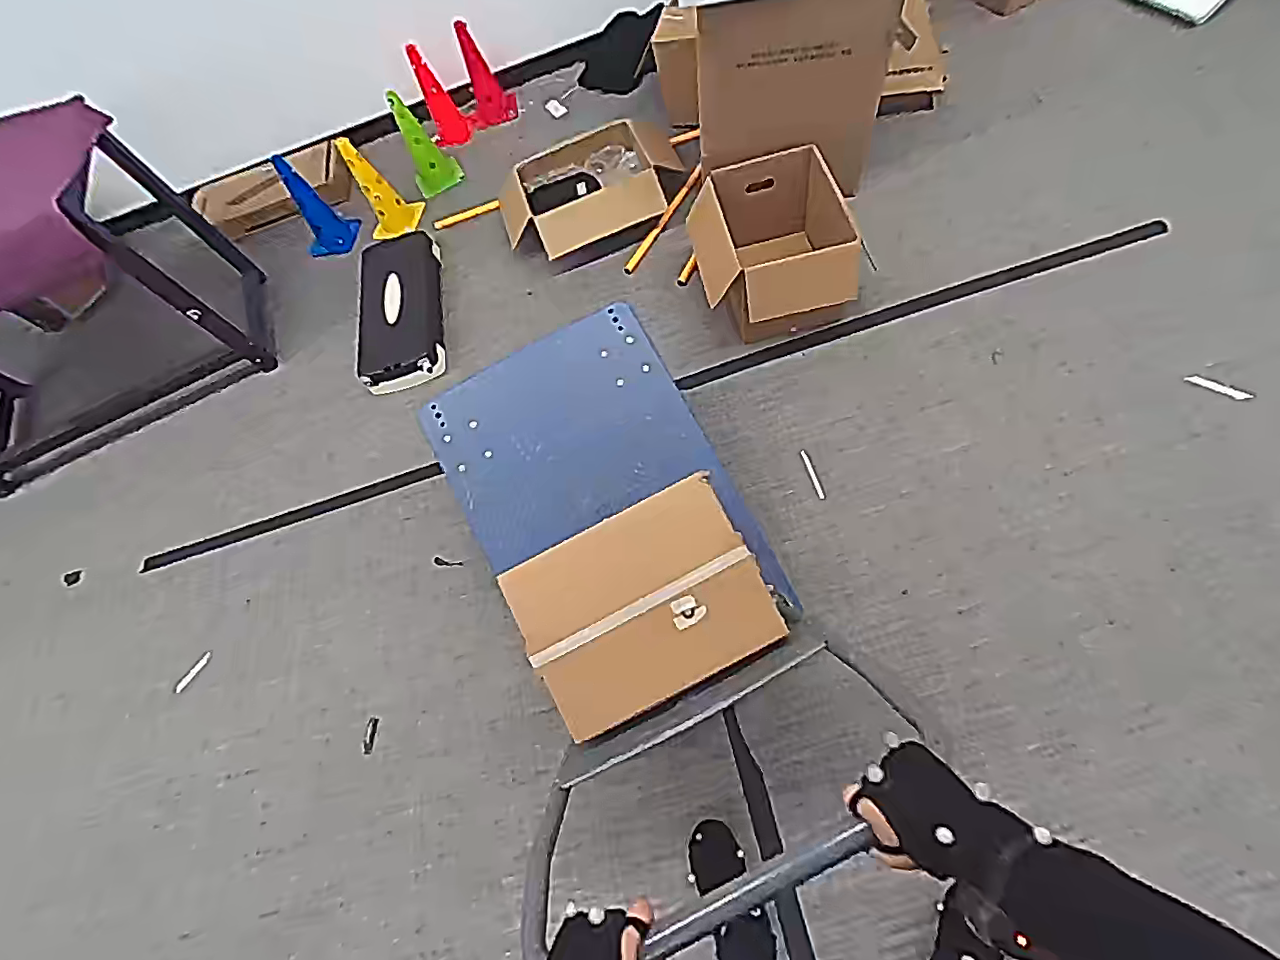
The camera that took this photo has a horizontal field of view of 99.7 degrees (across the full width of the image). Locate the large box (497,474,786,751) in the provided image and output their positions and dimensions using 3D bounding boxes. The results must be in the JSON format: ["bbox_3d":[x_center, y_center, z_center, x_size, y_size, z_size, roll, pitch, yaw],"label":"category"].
[{"bbox_3d":[0.004,0.237,1.048,0.408,0.320,0.320,-28,83,-2],"label":"large box"}]
